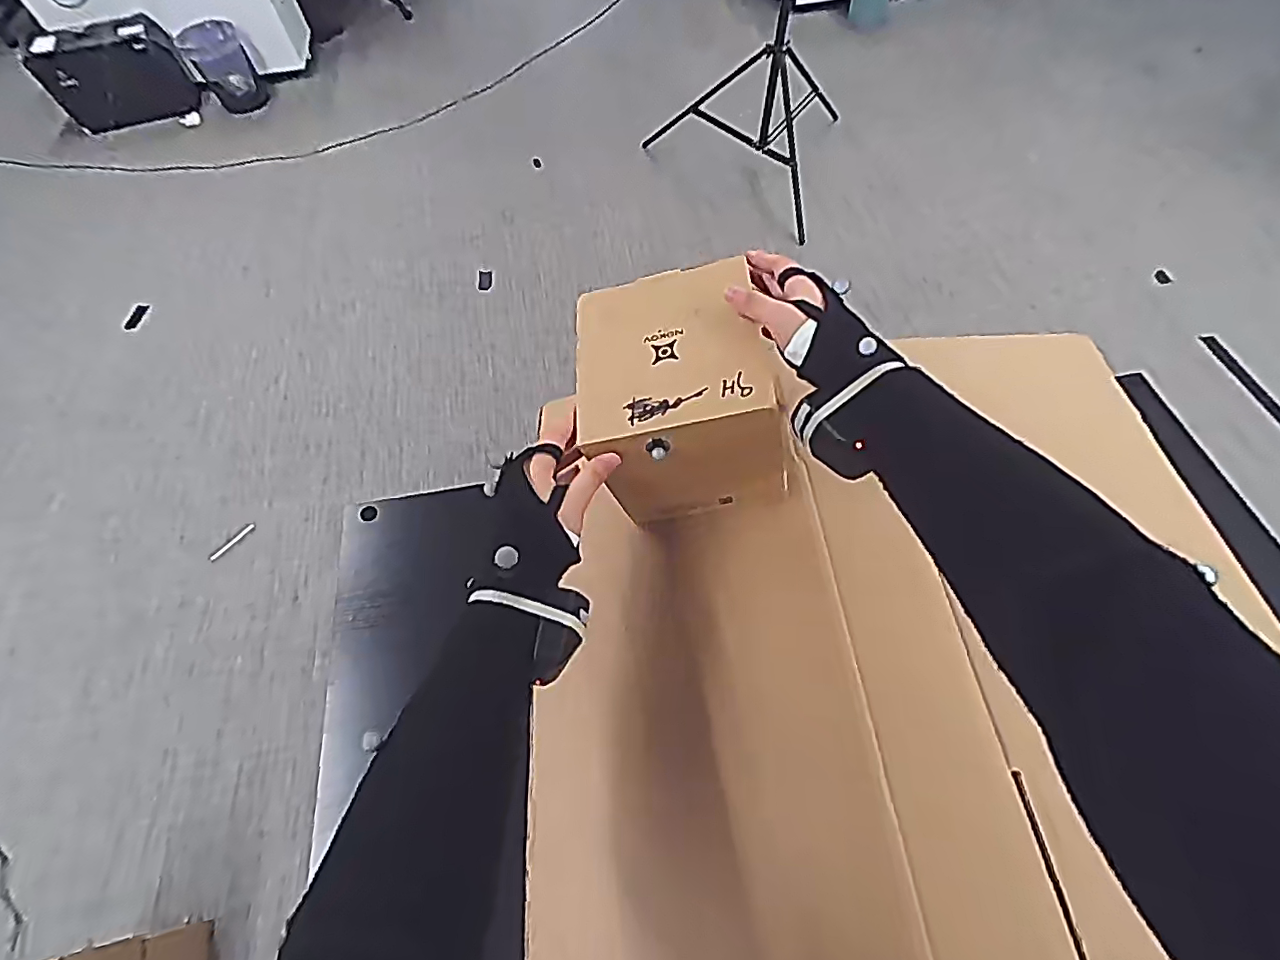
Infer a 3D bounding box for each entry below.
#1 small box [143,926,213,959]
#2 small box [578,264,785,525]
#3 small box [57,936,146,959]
[{"bbox_3d":[-0.949,0.972,1.013,0.168,0.176,0.179,-13,61,-5],"label":"small box"},{"bbox_3d":[0.046,-0.075,0.542,0.168,0.176,0.179,-11,59,13],"label":"small box"},{"bbox_3d":[-0.958,0.887,0.875,0.168,0.176,0.179,-16,60,-7],"label":"small box"}]
